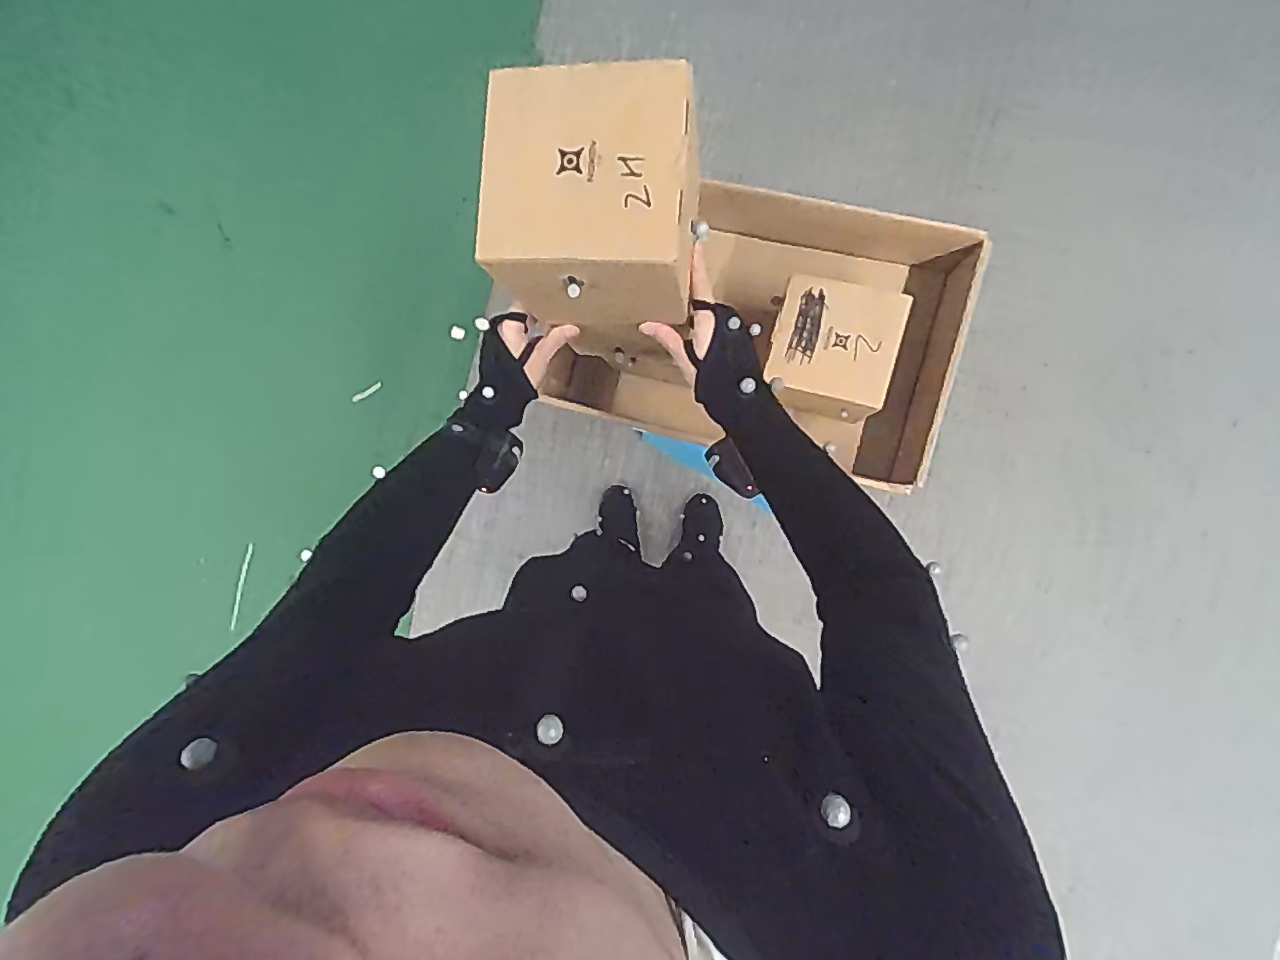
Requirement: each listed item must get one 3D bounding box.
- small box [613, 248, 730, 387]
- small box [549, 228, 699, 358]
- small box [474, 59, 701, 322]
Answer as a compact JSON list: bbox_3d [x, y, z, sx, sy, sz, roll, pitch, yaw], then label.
[{"bbox_3d":[0.044,-0.269,0.891,0.168,0.176,0.179,16,91,10],"label":"small box"},{"bbox_3d":[-0.012,-0.263,0.685,0.168,0.176,0.179,2,90,8],"label":"small box"},{"bbox_3d":[-0.037,-0.259,0.523,0.179,0.176,0.168,4,90,8],"label":"small box"}]
